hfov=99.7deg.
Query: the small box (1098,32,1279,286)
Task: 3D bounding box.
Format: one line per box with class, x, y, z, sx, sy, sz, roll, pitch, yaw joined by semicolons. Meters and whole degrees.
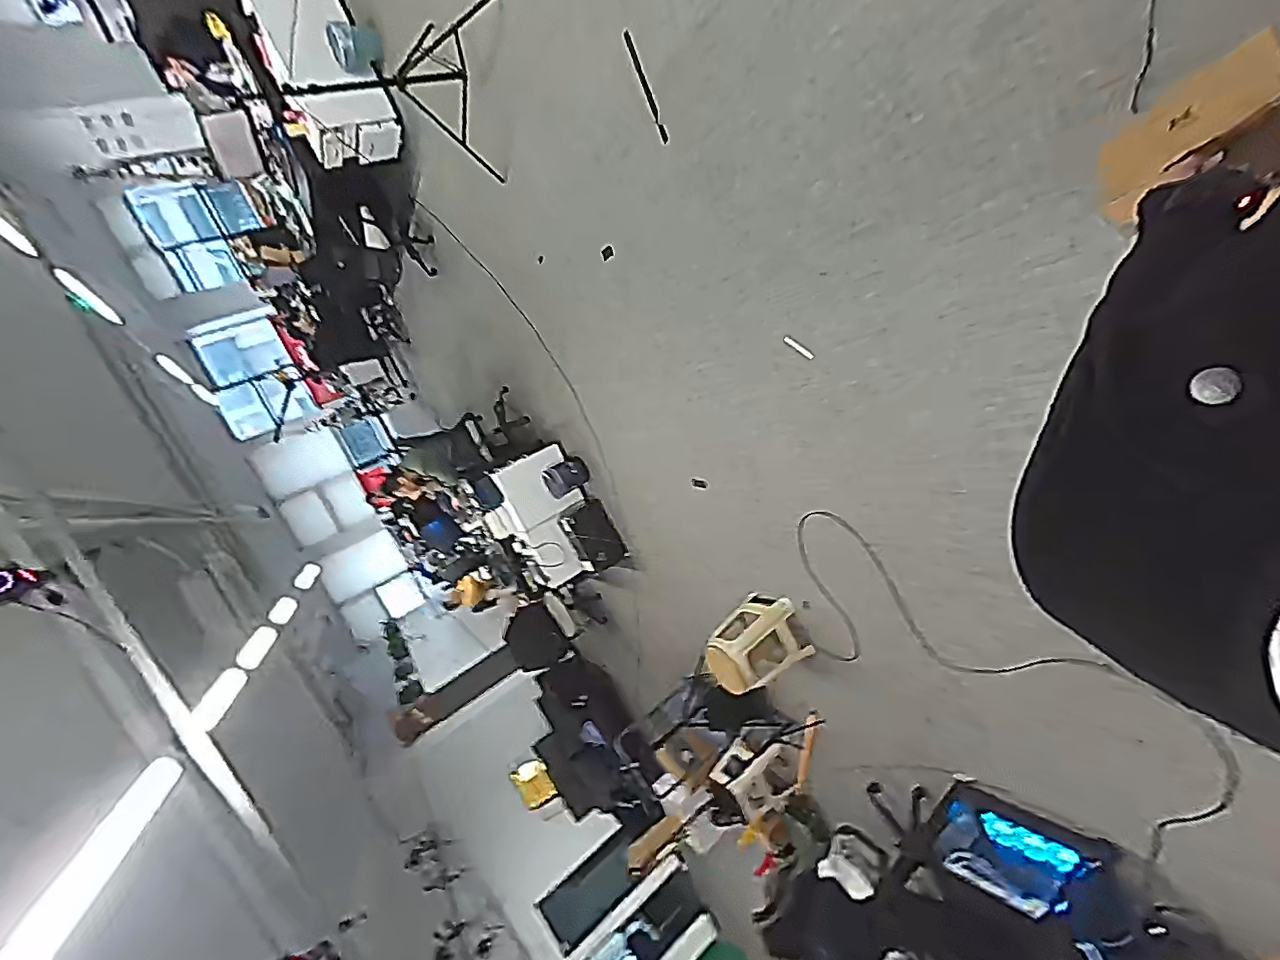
small box;0.691;-0.363;0.643;0.176;0.179;0.168;37;149;-13
